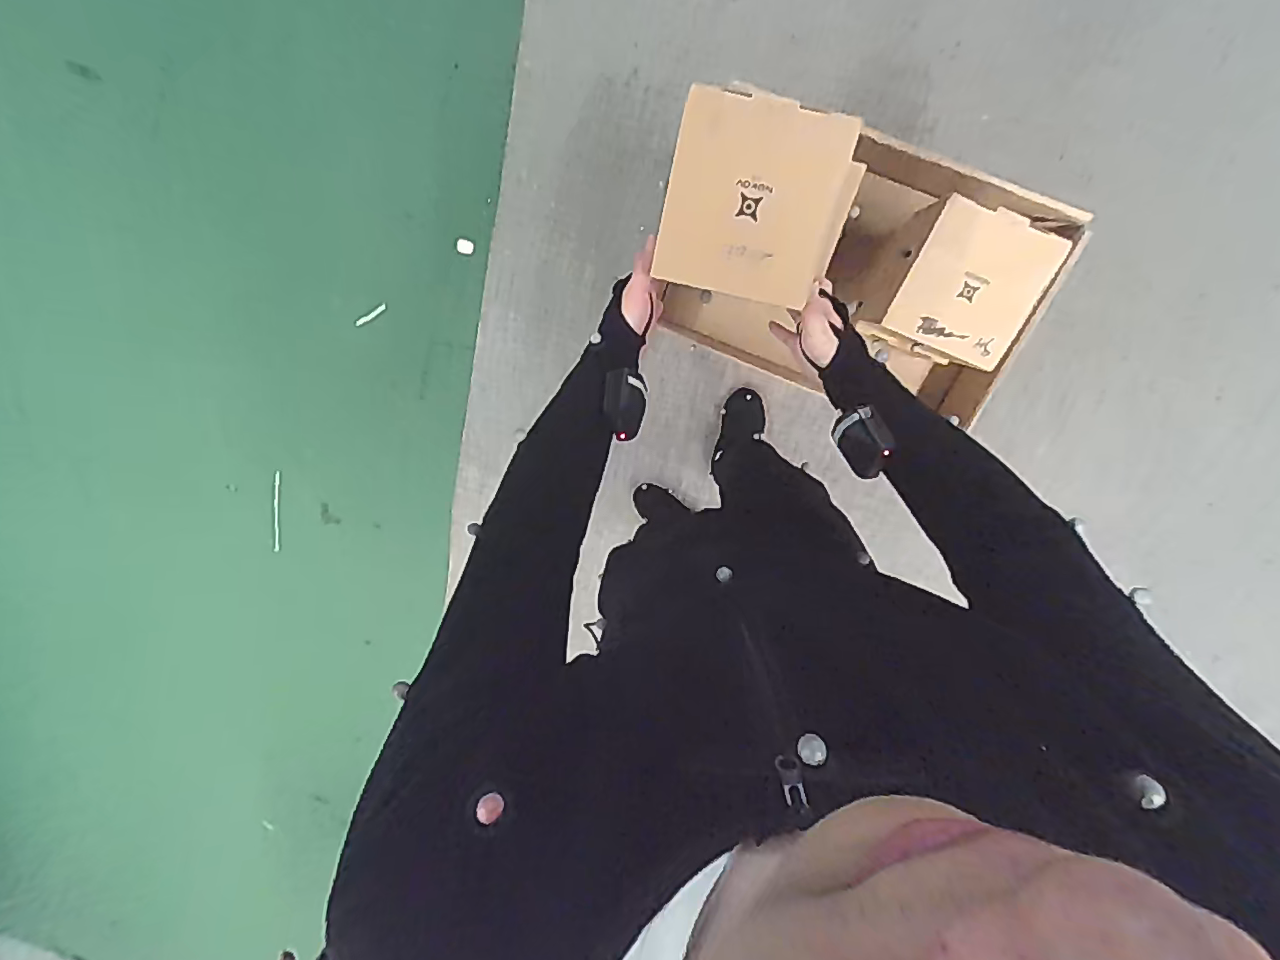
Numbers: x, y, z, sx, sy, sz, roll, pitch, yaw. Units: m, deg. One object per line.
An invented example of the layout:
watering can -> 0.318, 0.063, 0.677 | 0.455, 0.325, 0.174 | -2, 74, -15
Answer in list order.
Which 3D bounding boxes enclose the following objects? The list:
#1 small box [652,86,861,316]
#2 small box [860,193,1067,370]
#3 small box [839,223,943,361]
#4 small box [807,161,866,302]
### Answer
small box -> 0.114, -0.294, 0.601 | 0.168, 0.176, 0.179 | 13, 112, 1
small box -> 0.445, -0.282, 0.785 | 0.168, 0.176, 0.179 | 24, 111, 1
small box -> 0.468, -0.328, 0.941 | 0.168, 0.176, 0.179 | 22, 112, 1
small box -> 0.197, -0.374, 0.791 | 0.168, 0.176, 0.179 | 20, 111, 3
